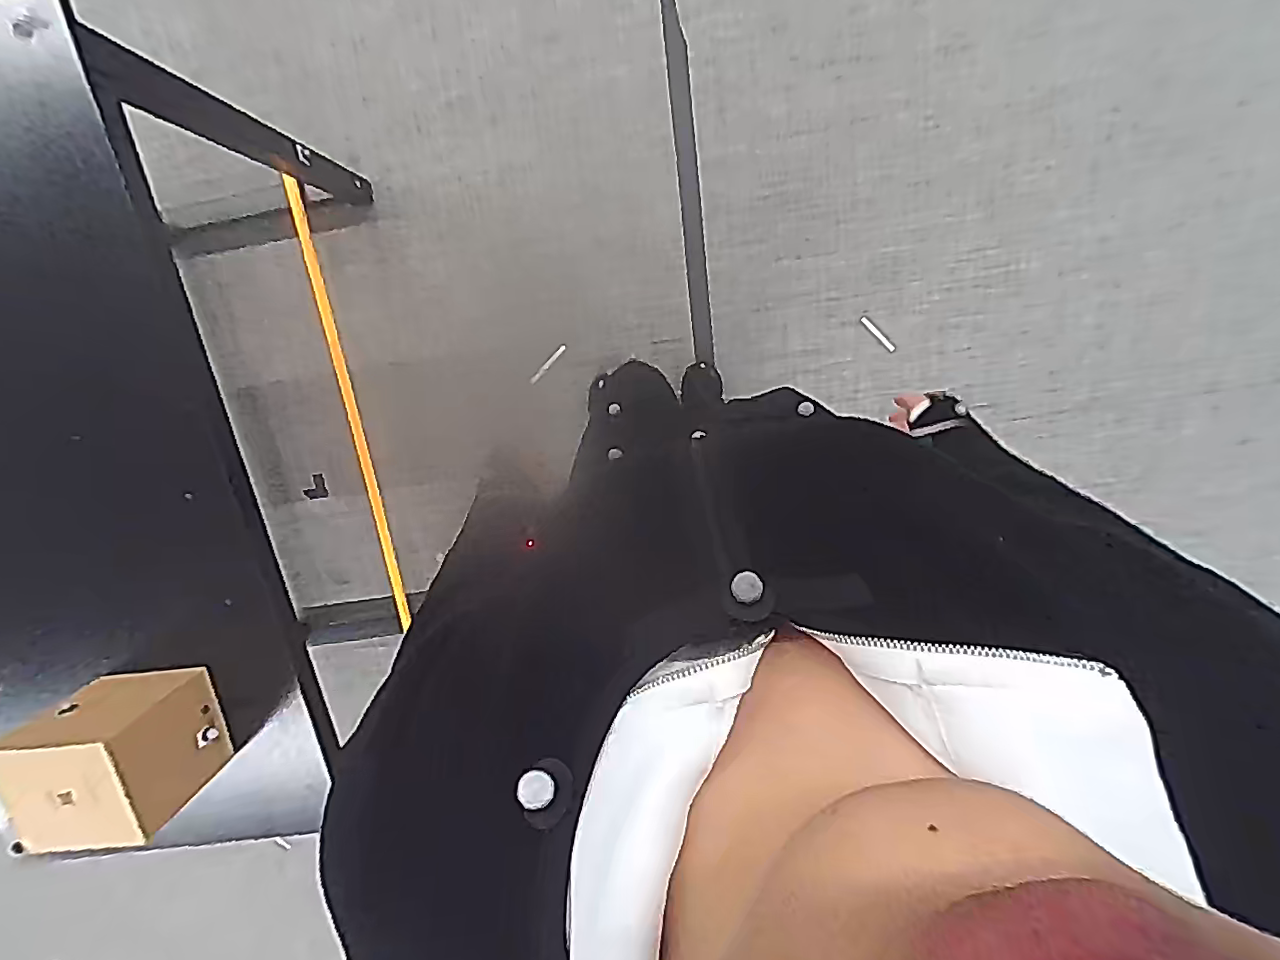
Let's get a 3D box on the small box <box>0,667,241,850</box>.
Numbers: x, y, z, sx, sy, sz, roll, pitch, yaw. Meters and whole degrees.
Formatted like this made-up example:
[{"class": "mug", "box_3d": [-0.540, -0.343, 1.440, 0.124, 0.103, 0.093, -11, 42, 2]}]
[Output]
[{"class": "small box", "box_3d": [-0.744, 0.396, 0.790, 0.179, 0.176, 0.168, -7, 105, 3]}]
